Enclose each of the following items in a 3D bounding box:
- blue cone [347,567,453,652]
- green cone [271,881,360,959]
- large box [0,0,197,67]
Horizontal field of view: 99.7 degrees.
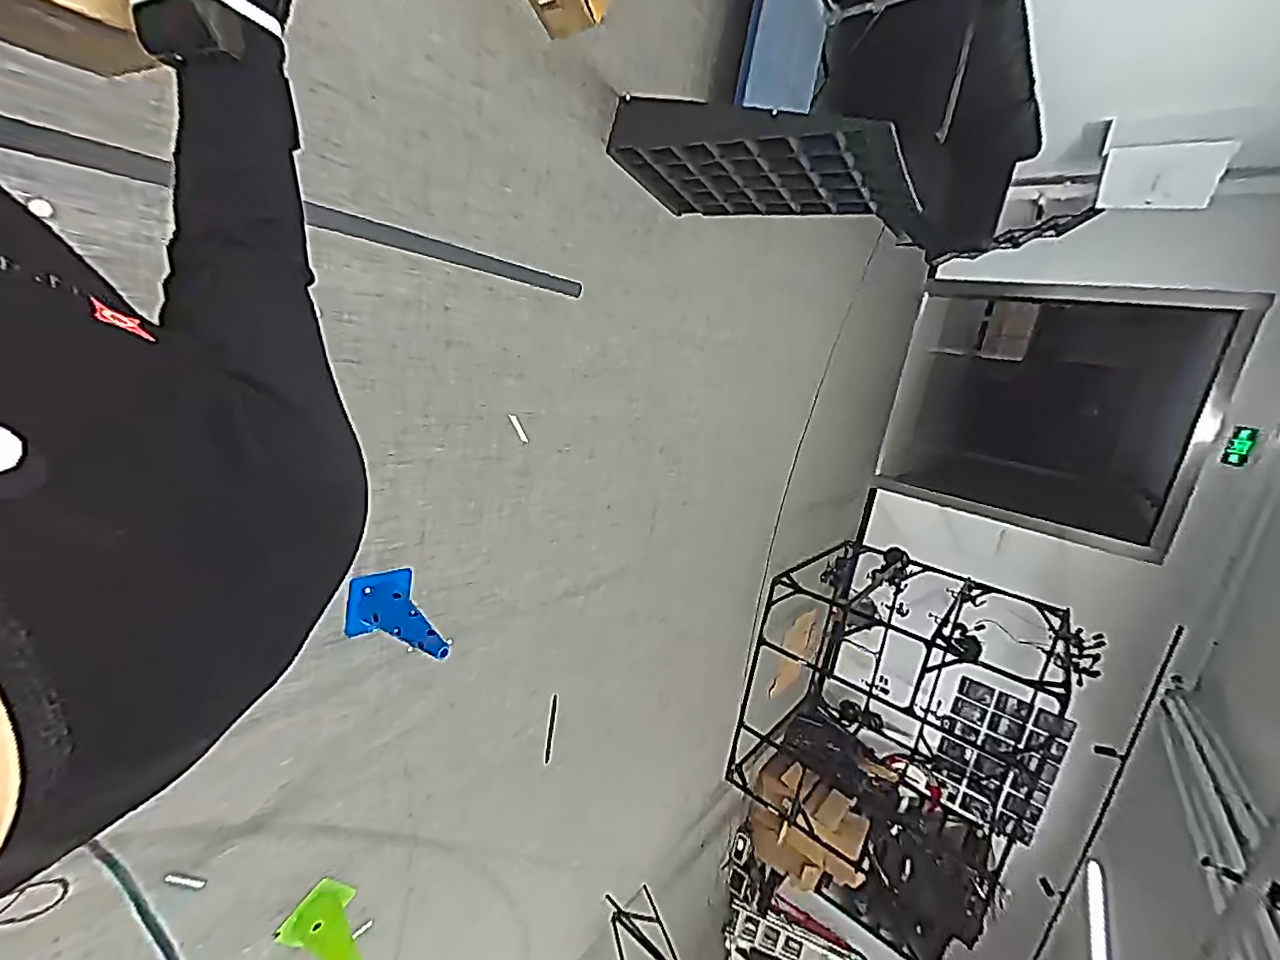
[{"bbox_3d":[-0.691,0.419,1.608,0.192,0.380,0.193,-2,108,-54],"label":"blue cone"},{"bbox_3d":[-0.962,1.512,1.722,0.202,0.368,0.200,-49,140,-31],"label":"green cone"},{"bbox_3d":[-0.524,-0.485,0.271,0.408,0.320,0.320,-9,119,-52],"label":"large box"}]
